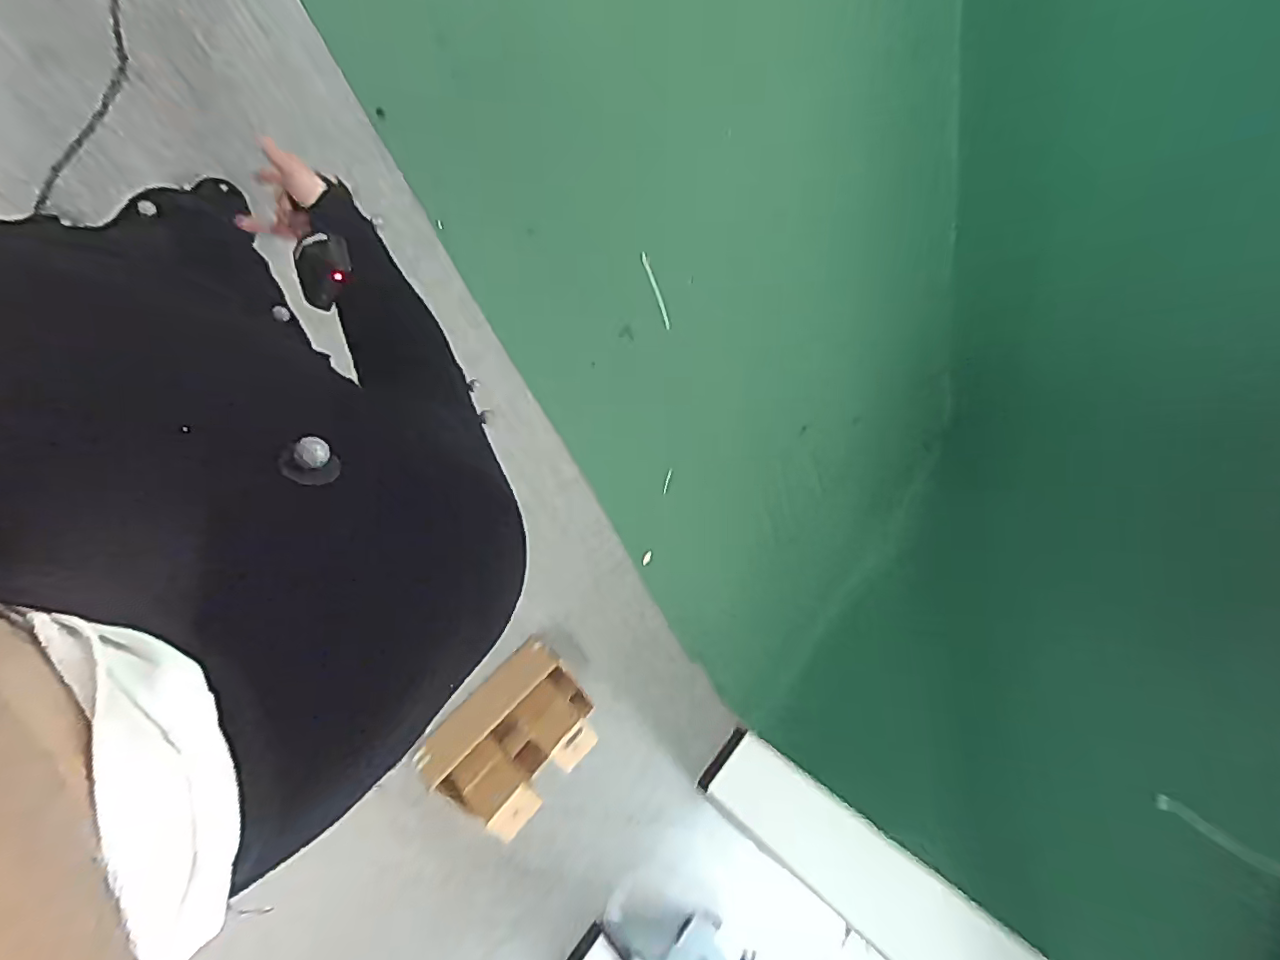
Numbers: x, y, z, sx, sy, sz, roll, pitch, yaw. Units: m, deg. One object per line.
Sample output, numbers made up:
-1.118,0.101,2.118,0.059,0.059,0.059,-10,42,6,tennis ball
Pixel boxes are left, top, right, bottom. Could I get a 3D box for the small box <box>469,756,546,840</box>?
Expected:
-0.478,1.135,1.942,0.179,0.176,0.168,-45,130,-20,small box
